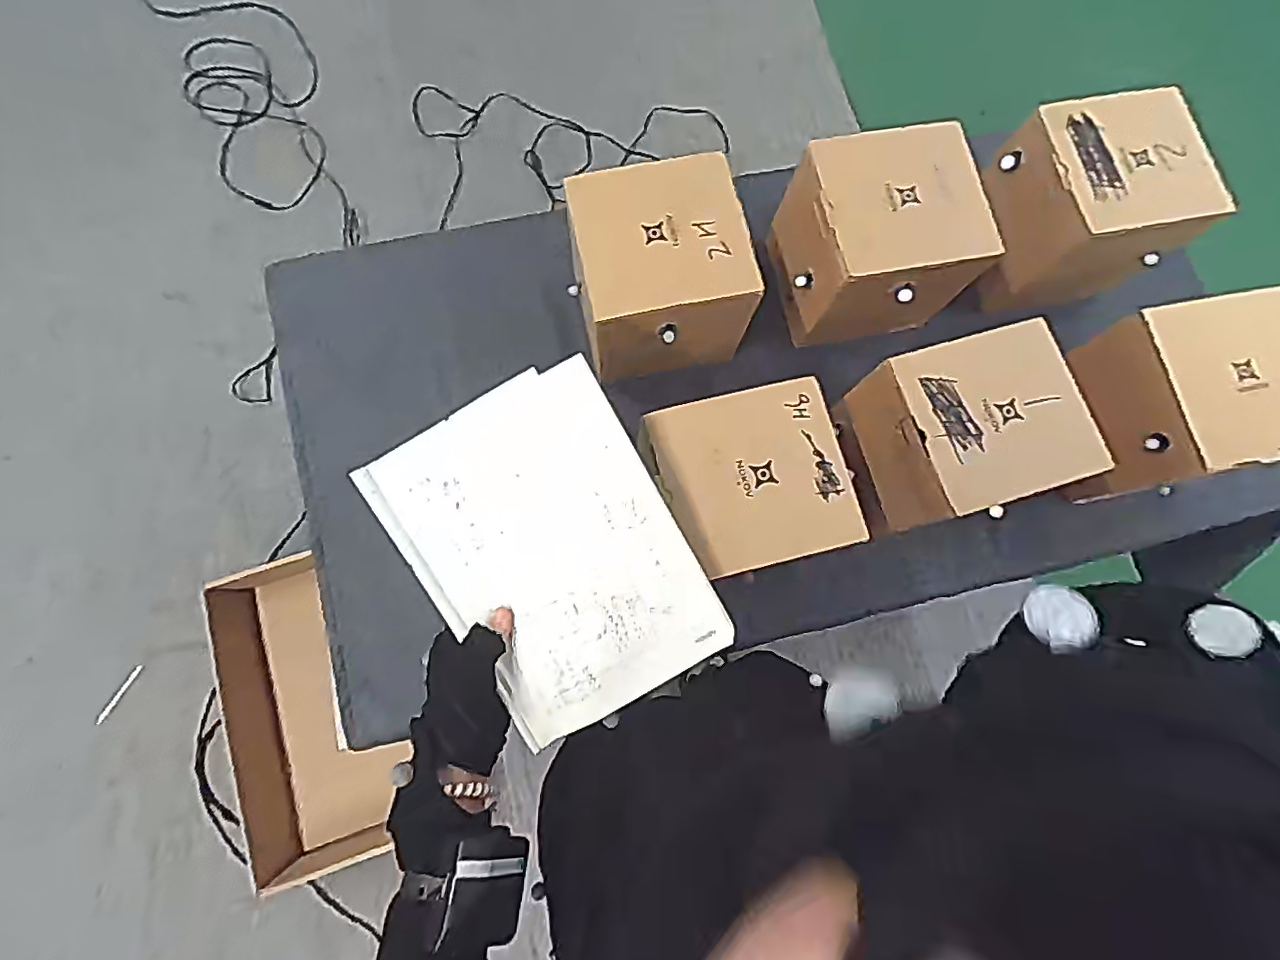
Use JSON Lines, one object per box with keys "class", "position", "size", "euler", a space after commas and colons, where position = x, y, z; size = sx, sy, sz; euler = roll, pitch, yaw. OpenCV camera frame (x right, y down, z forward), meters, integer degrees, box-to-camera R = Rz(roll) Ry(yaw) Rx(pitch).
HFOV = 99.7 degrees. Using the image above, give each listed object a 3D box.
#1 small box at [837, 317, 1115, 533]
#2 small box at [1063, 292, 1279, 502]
{"class": "small box", "position": [0.341, -0.048, 0.595], "size": [0.179, 0.176, 0.168], "euler": [-15, 78, -7]}
{"class": "small box", "position": [0.599, -0.084, 0.617], "size": [0.168, 0.176, 0.179], "euler": [-9, 78, -5]}
